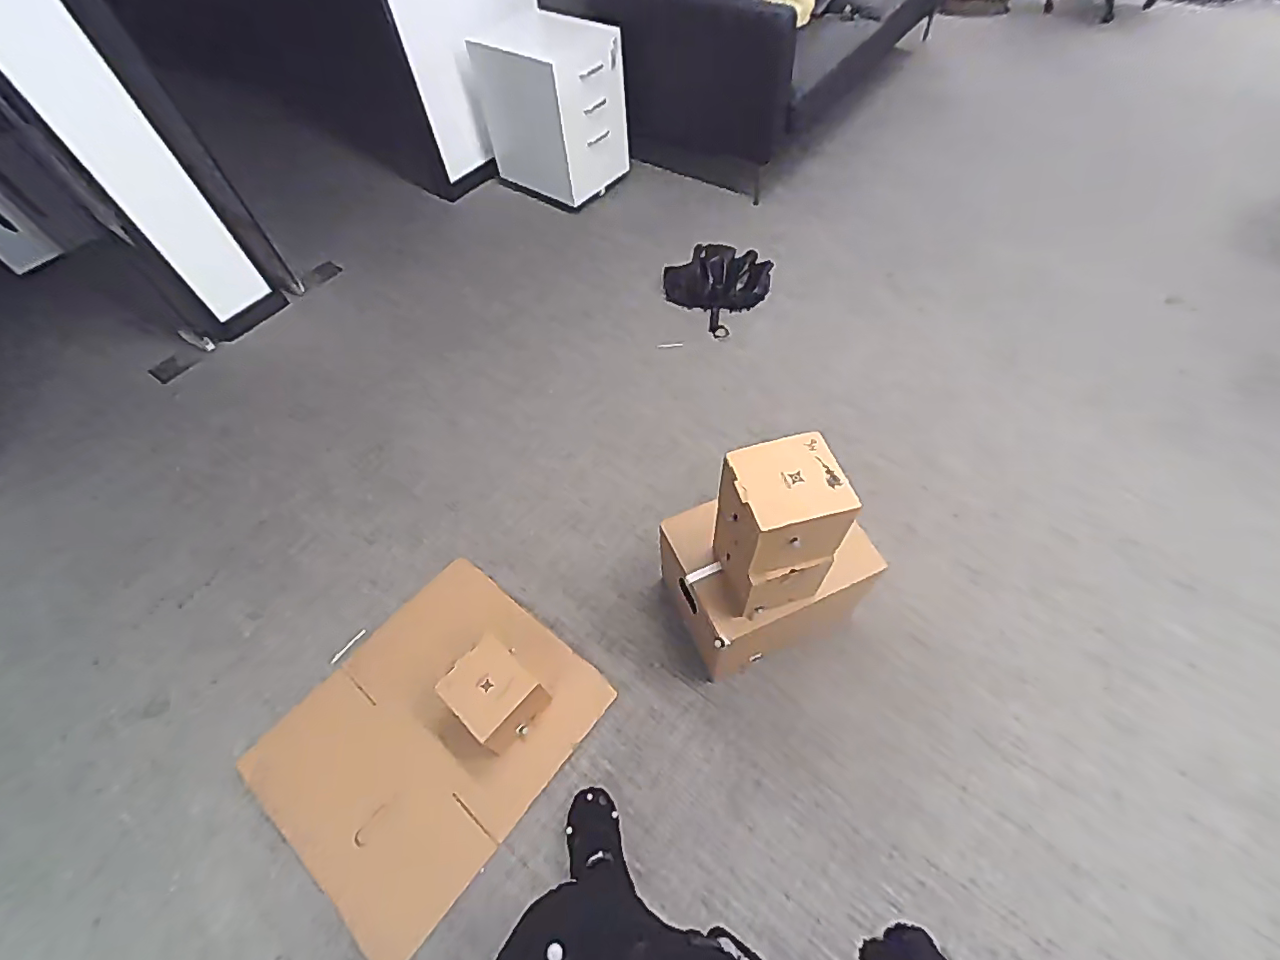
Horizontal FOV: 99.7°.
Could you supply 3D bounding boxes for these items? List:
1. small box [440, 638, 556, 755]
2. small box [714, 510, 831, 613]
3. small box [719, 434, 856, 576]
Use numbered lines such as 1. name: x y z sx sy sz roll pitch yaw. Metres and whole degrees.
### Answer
1. small box: -0.321 0.506 1.250 0.179 0.176 0.168 34 65 24
2. small box: 0.257 0.152 1.092 0.168 0.176 0.179 -15 56 -7
3. small box: 0.250 0.050 0.967 0.179 0.176 0.168 -16 54 -8
